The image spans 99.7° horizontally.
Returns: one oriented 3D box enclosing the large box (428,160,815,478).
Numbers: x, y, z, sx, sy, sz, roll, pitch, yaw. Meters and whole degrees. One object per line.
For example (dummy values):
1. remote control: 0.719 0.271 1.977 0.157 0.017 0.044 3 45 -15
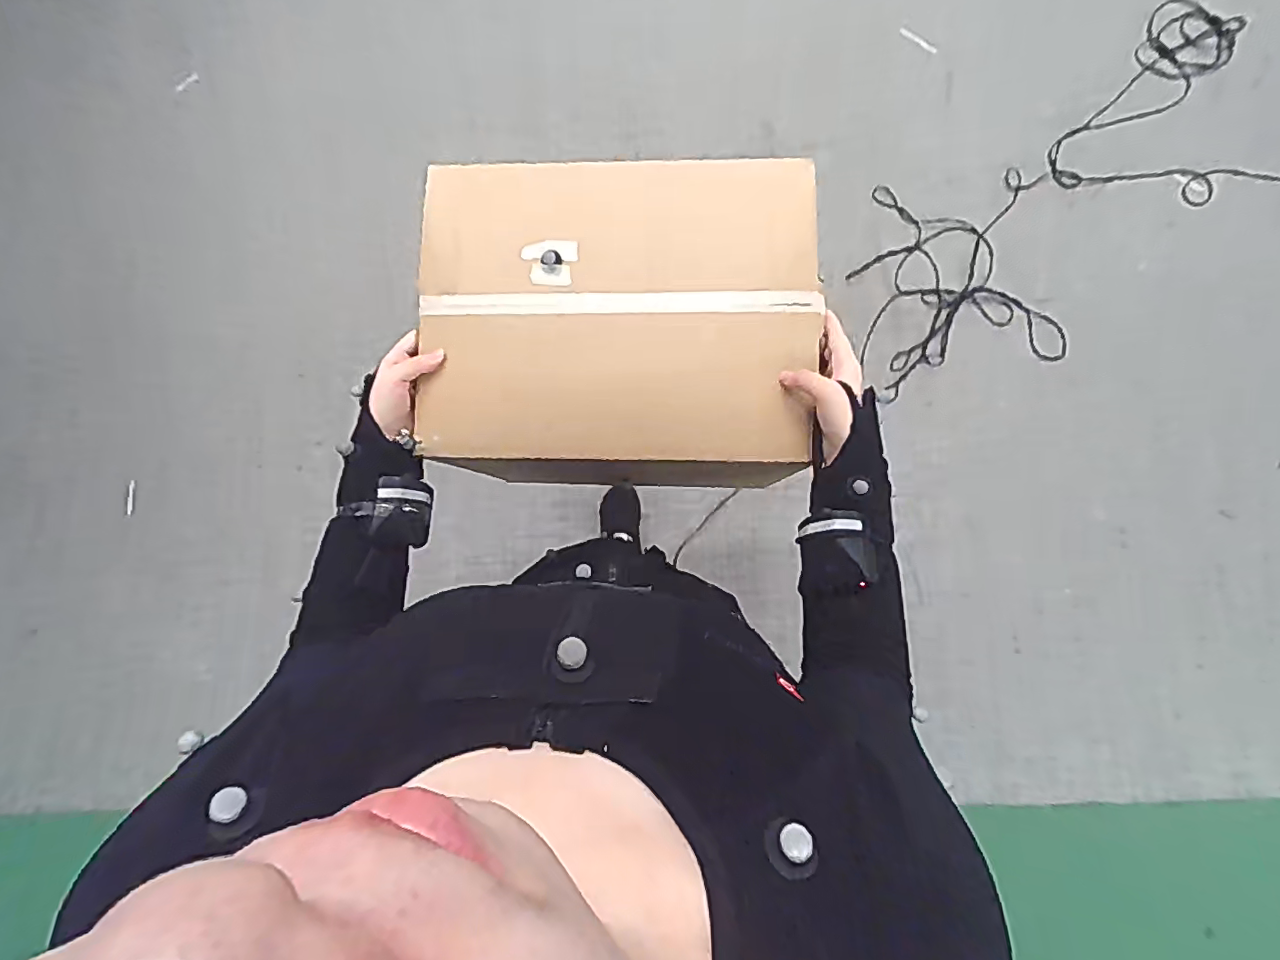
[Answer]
1. large box: -0.010 -0.166 0.709 0.408 0.320 0.320 1 84 5
